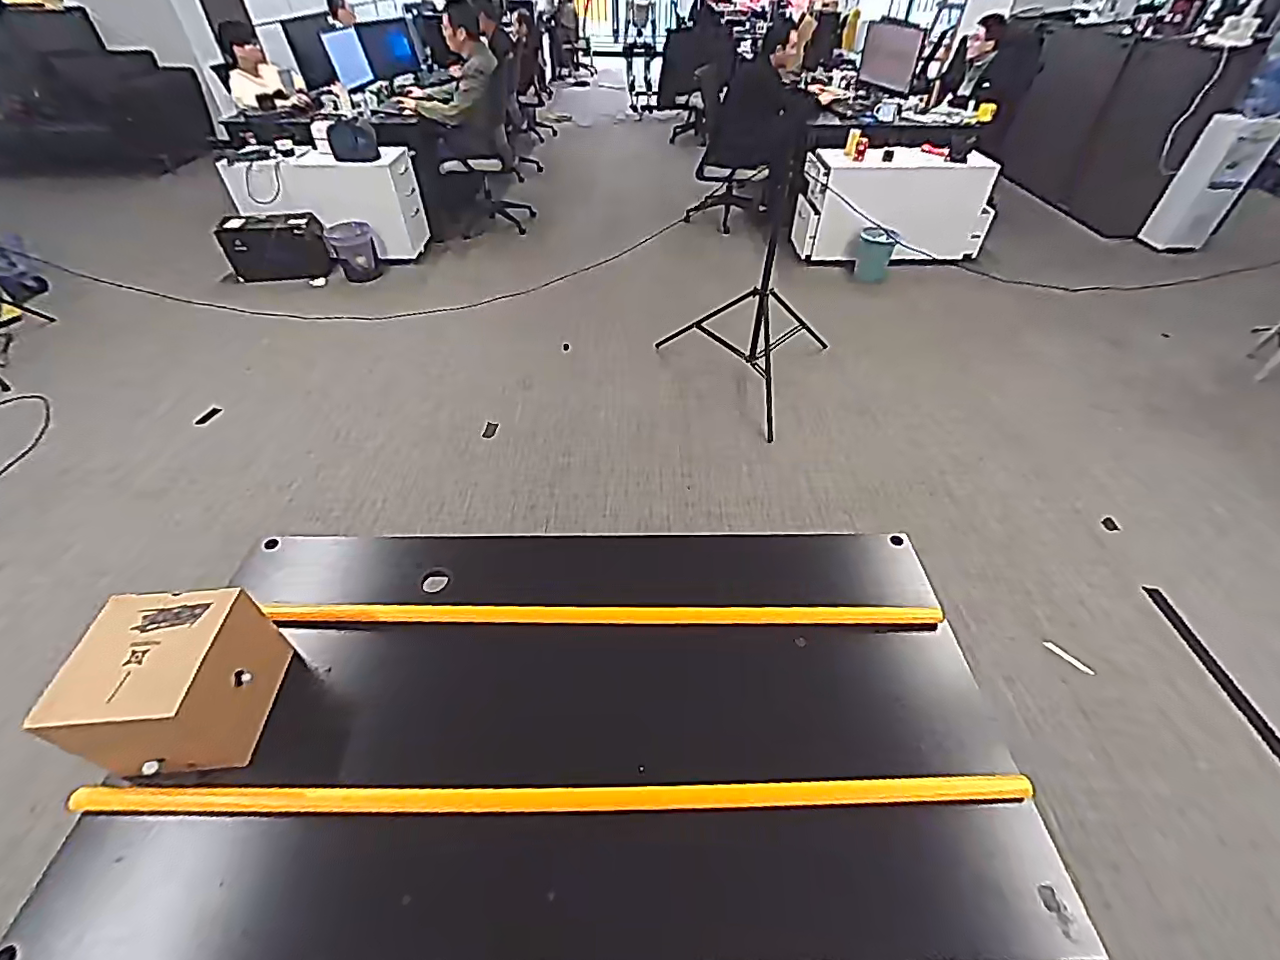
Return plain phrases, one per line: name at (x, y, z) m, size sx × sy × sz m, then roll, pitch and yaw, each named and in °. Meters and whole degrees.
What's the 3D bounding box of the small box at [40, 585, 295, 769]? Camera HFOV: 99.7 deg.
small box at (-0.602, 0.264, 0.726) m, size 0.168 × 0.176 × 0.179 m, roll -3°, pitch 45°, yaw -3°
